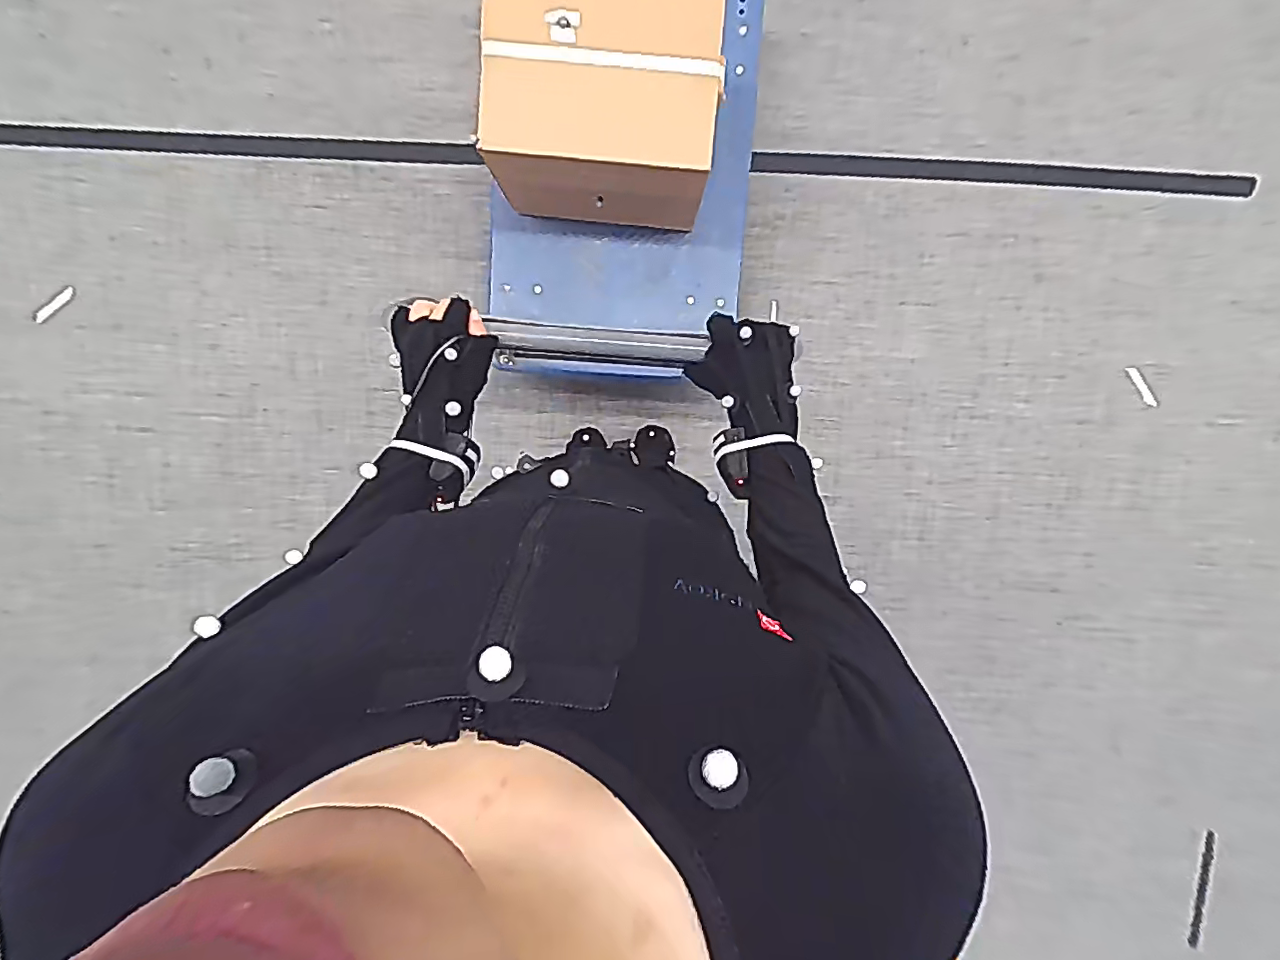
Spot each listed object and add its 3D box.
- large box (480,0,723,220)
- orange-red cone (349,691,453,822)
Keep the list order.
[{"bbox_3d":[-0.065,-0.728,1.058,0.408,0.320,0.320,5,97,-1],"label":"large box"},{"bbox_3d":[-0.641,0.727,1.384,0.198,0.360,0.199,10,96,-3],"label":"orange-red cone"}]
